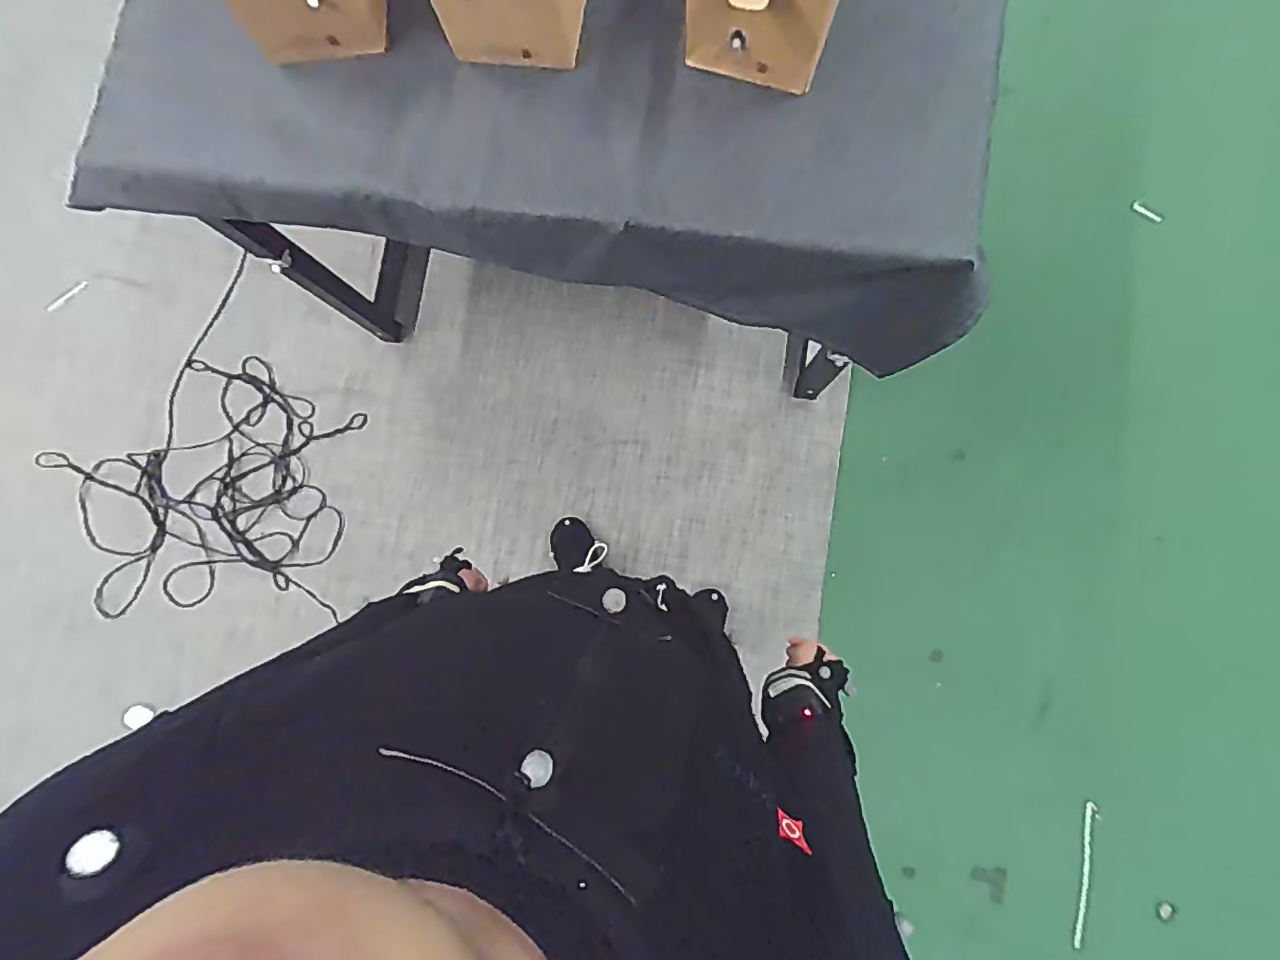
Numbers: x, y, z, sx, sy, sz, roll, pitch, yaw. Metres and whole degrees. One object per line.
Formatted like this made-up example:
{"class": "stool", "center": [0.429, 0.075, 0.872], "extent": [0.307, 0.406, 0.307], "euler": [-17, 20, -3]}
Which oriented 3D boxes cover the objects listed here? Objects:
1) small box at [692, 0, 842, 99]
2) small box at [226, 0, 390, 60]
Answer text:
{"class": "small box", "center": [0.163, -0.609, 0.639], "extent": [0.168, 0.176, 0.179], "euler": [19, 86, 5]}
{"class": "small box", "center": [-0.435, -0.674, 0.685], "extent": [0.168, 0.176, 0.179], "euler": [-3, 82, 2]}
